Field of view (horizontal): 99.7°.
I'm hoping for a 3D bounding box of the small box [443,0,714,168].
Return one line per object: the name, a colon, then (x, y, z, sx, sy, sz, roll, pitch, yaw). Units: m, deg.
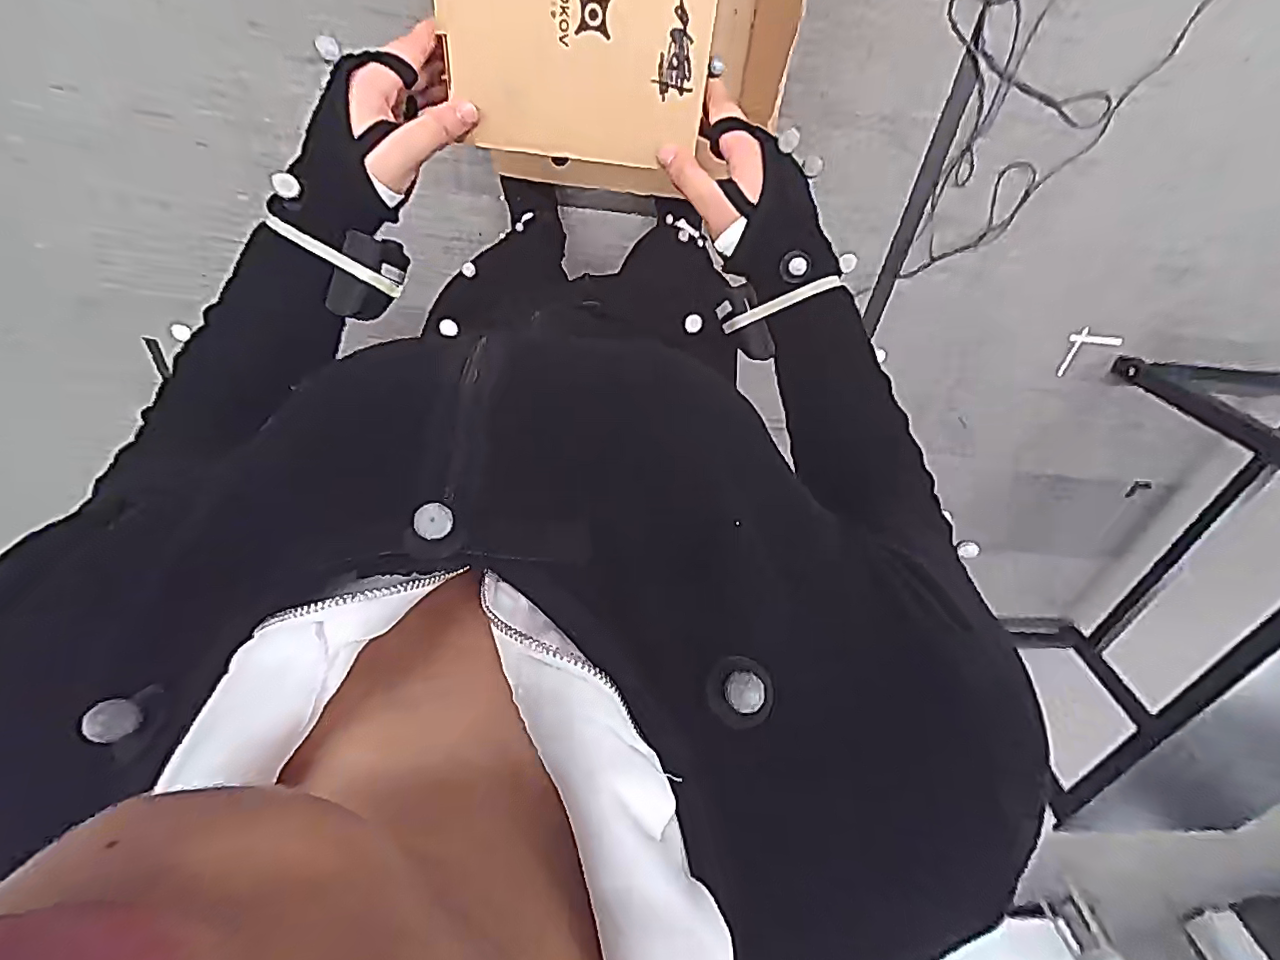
small box: (-0.041, -0.352, 0.416, 0.179, 0.176, 0.168, 5, 125, -6)
